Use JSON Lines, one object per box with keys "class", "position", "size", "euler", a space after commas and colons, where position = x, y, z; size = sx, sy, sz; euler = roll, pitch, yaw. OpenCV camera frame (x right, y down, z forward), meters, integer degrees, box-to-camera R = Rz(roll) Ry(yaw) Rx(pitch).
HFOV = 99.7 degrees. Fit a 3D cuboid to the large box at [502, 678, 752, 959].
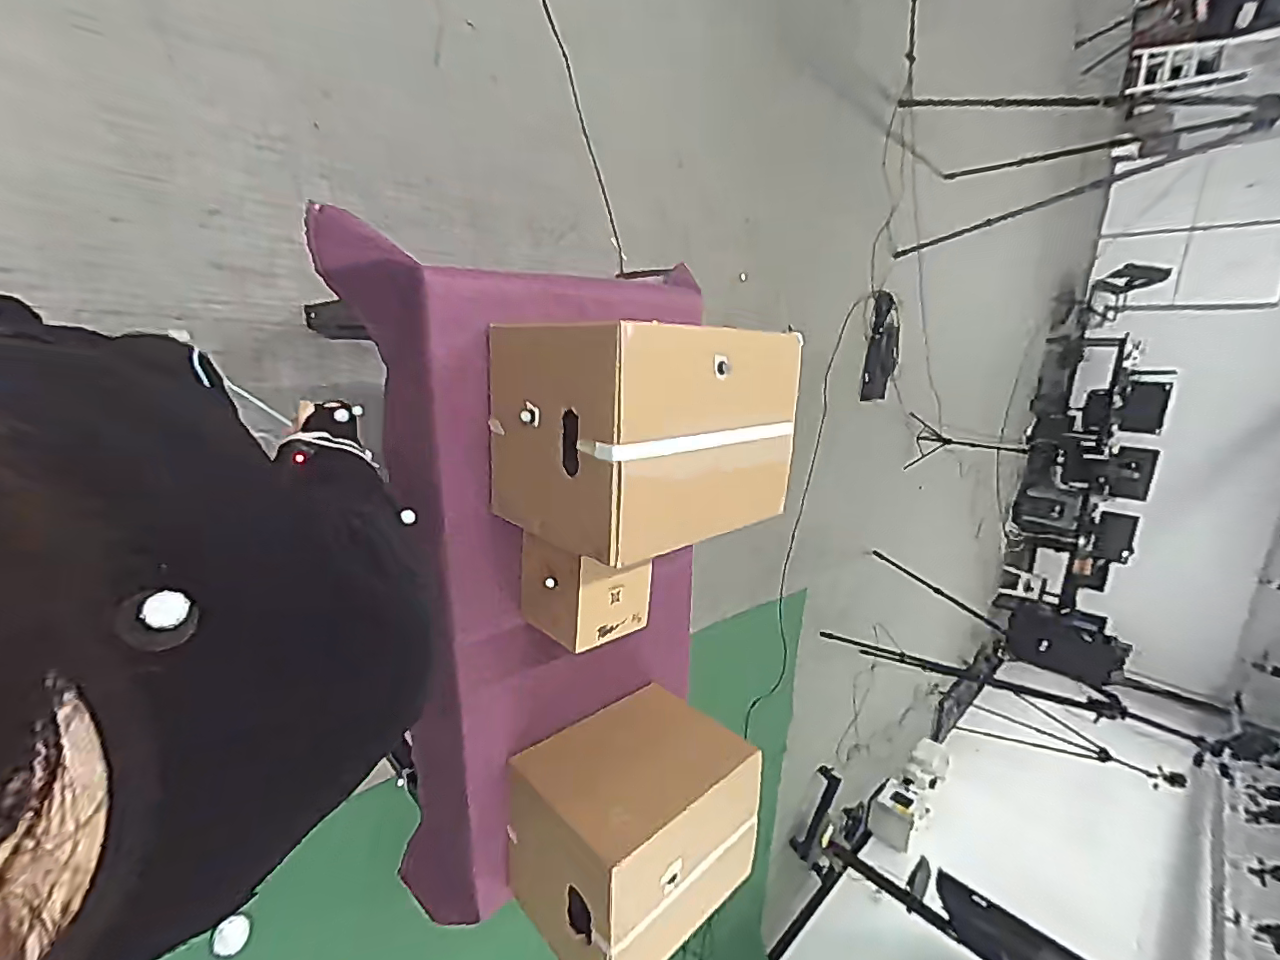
{"class": "large box", "position": [-0.027, 0.673, 1.101], "size": [0.408, 0.320, 0.320], "euler": [-9, 107, -43]}
